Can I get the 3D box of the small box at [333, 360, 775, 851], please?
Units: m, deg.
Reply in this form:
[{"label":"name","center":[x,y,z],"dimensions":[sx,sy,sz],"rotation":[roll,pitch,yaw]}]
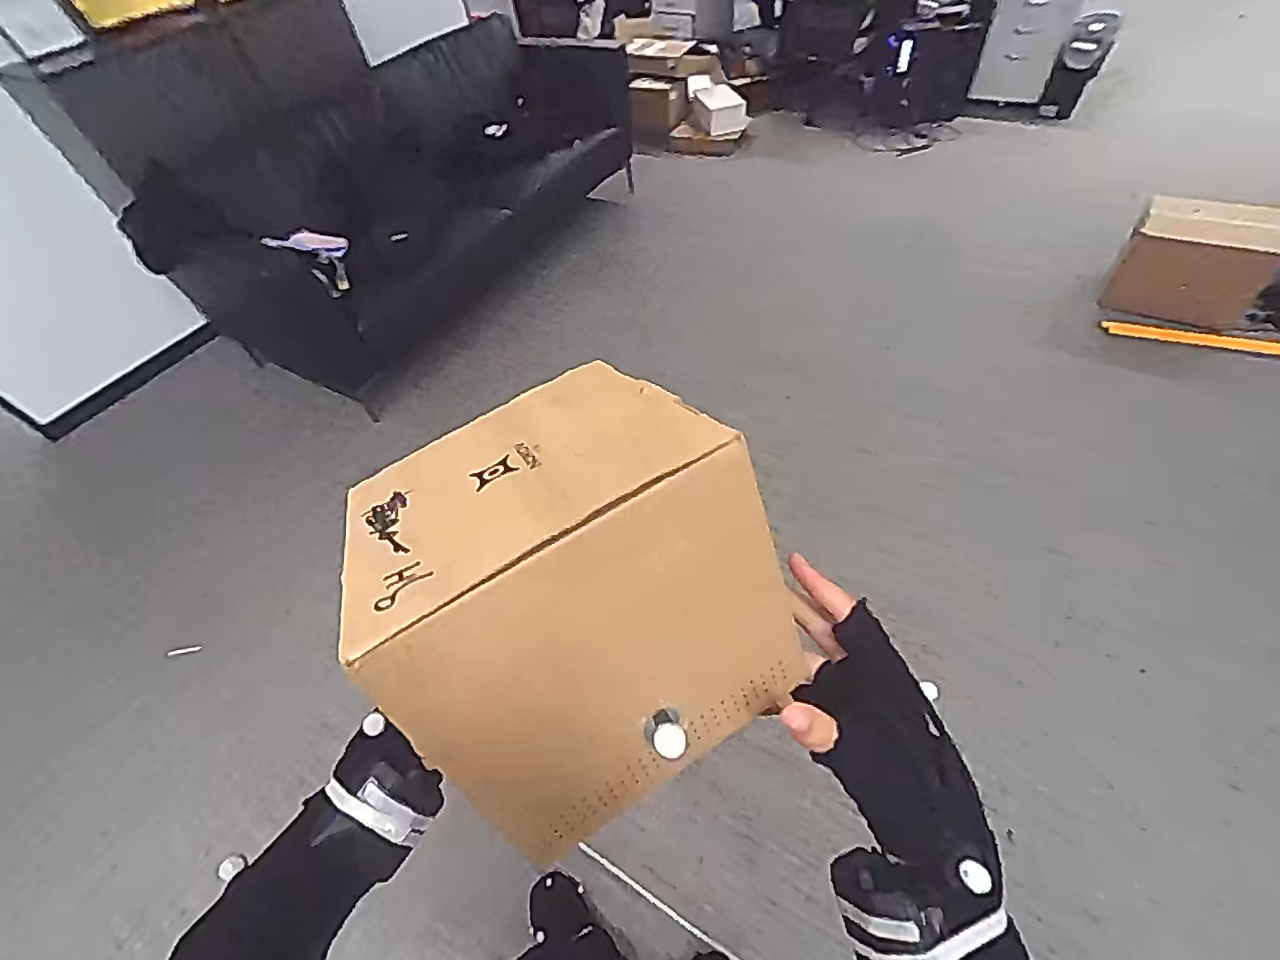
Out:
[{"label":"small box","center":[-0.041,0.056,0.311],"dimensions":[0.179,0.176,0.168],"rotation":[-30,31,-14]}]
